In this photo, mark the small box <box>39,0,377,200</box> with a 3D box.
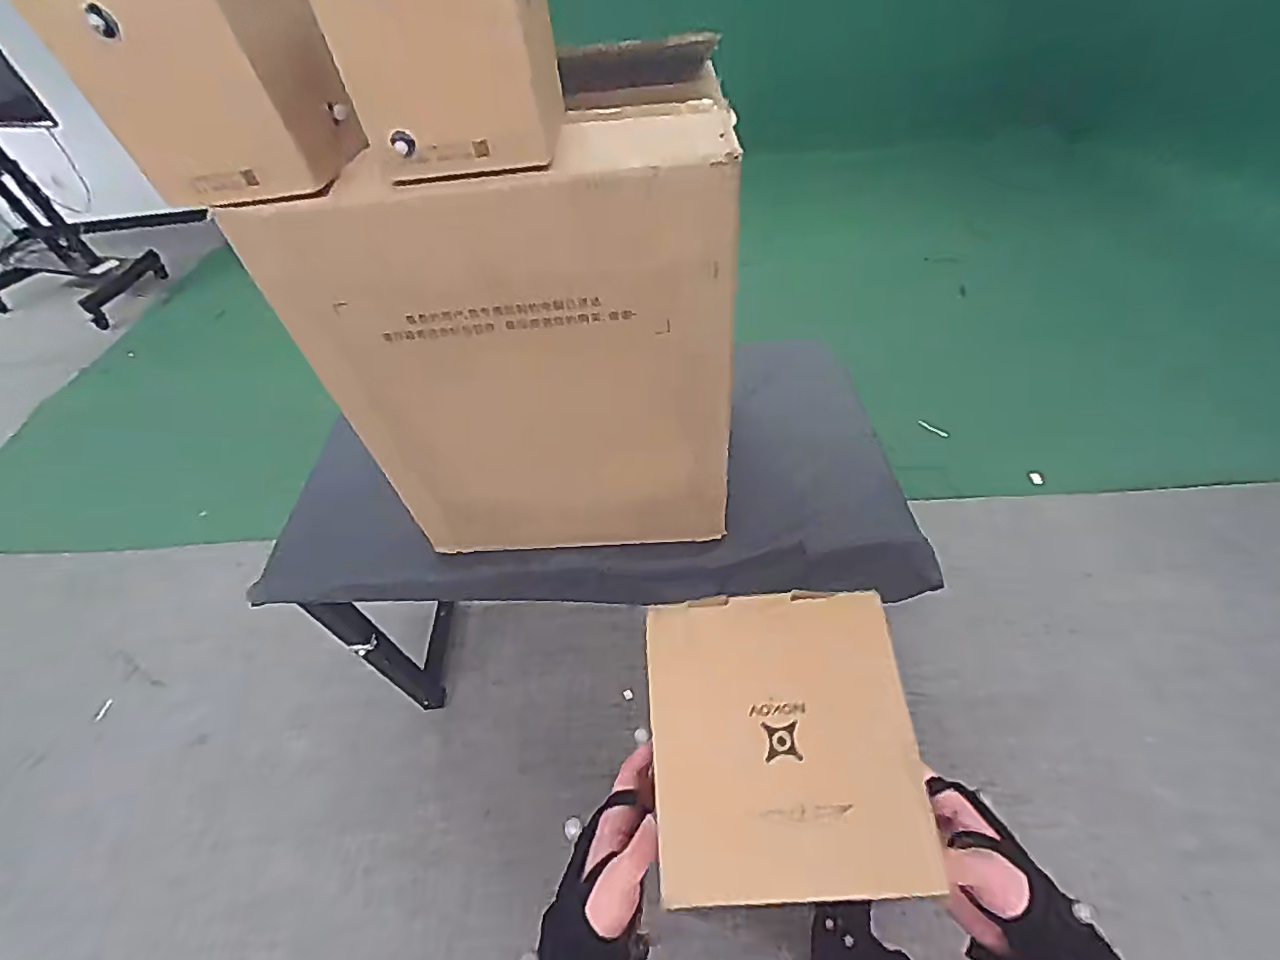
[{"bbox_3d":[-0.392,-0.400,0.533,0.168,0.176,0.179,-3,49,8],"label":"small box"}]

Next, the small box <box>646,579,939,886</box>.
[{"bbox_3d":[0.093,0.187,0.421,0.168,0.176,0.179,-5,66,3],"label":"small box"}]

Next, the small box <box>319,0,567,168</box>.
[{"bbox_3d":[-0.169,-0.417,0.519,0.168,0.176,0.179,-3,49,3],"label":"small box"}]
